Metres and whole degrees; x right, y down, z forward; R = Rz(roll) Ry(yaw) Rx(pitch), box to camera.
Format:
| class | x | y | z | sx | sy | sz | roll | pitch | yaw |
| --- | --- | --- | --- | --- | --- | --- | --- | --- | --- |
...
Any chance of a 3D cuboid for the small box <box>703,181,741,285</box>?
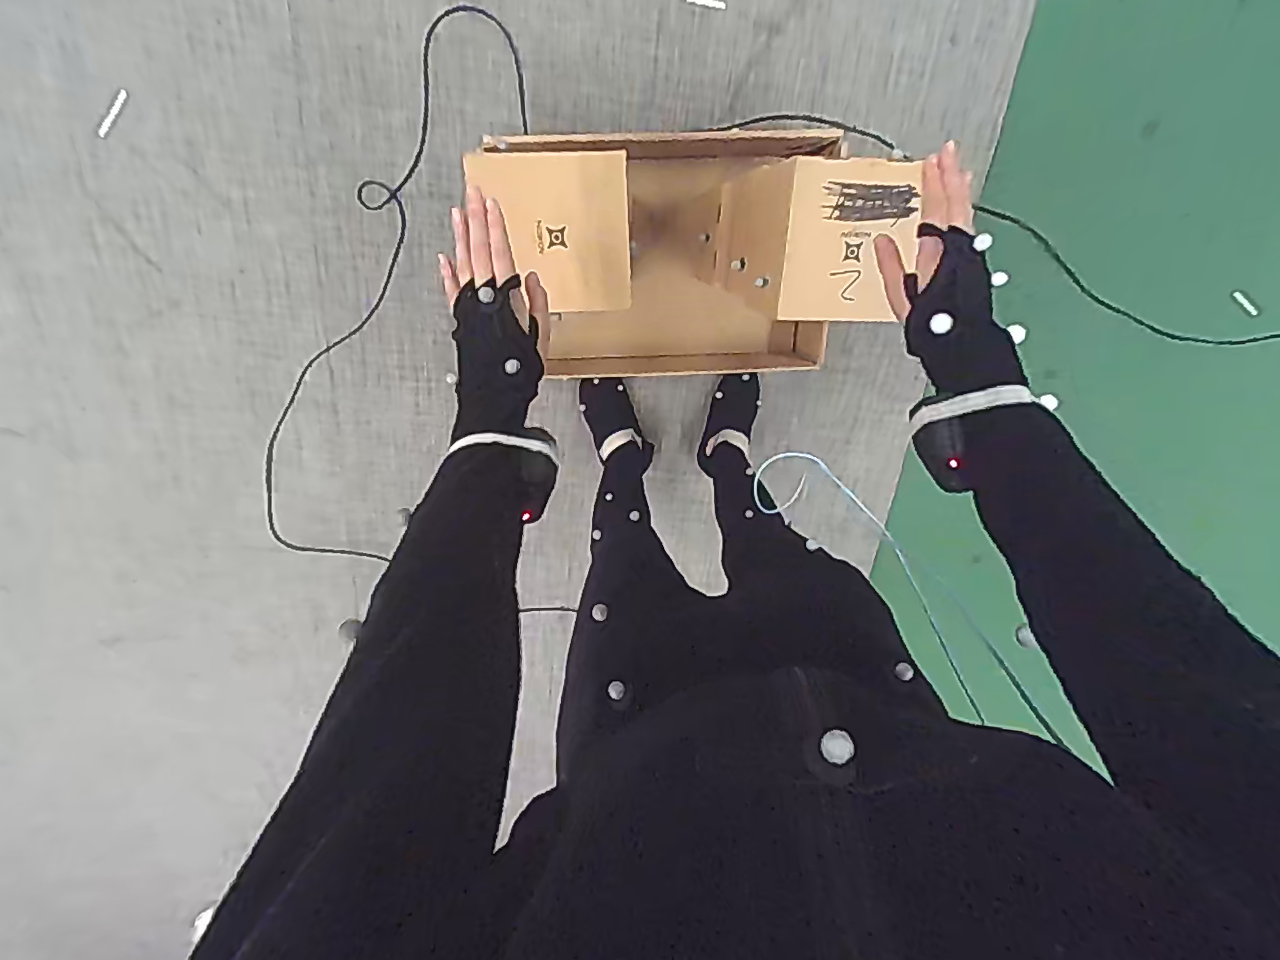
| class | x | y | z | sx | sy | sz | roll | pitch | yaw |
| --- | --- | --- | --- | --- | --- | --- | --- | --- | --- |
| small box | 0.217 | -0.444 | 0.997 | 0.179 | 0.176 | 0.168 | 2 | 113 | -4 |

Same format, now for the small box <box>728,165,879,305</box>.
| class | x | y | z | sx | sy | sz | roll | pitch | yaw |
| --- | --- | --- | --- | --- | --- | --- | --- | --- | --- |
| small box | 0.241 | -0.378 | 0.848 | 0.168 | 0.176 | 0.179 | 1 | 112 | -5 |

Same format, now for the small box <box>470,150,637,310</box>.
| class | x | y | z | sx | sy | sz | roll | pitch | yaw |
| --- | --- | --- | --- | --- | --- | --- | --- | --- | --- |
| small box | -0.098 | -0.312 | 0.679 | 0.179 | 0.176 | 0.168 | -2 | 115 | -2 |
